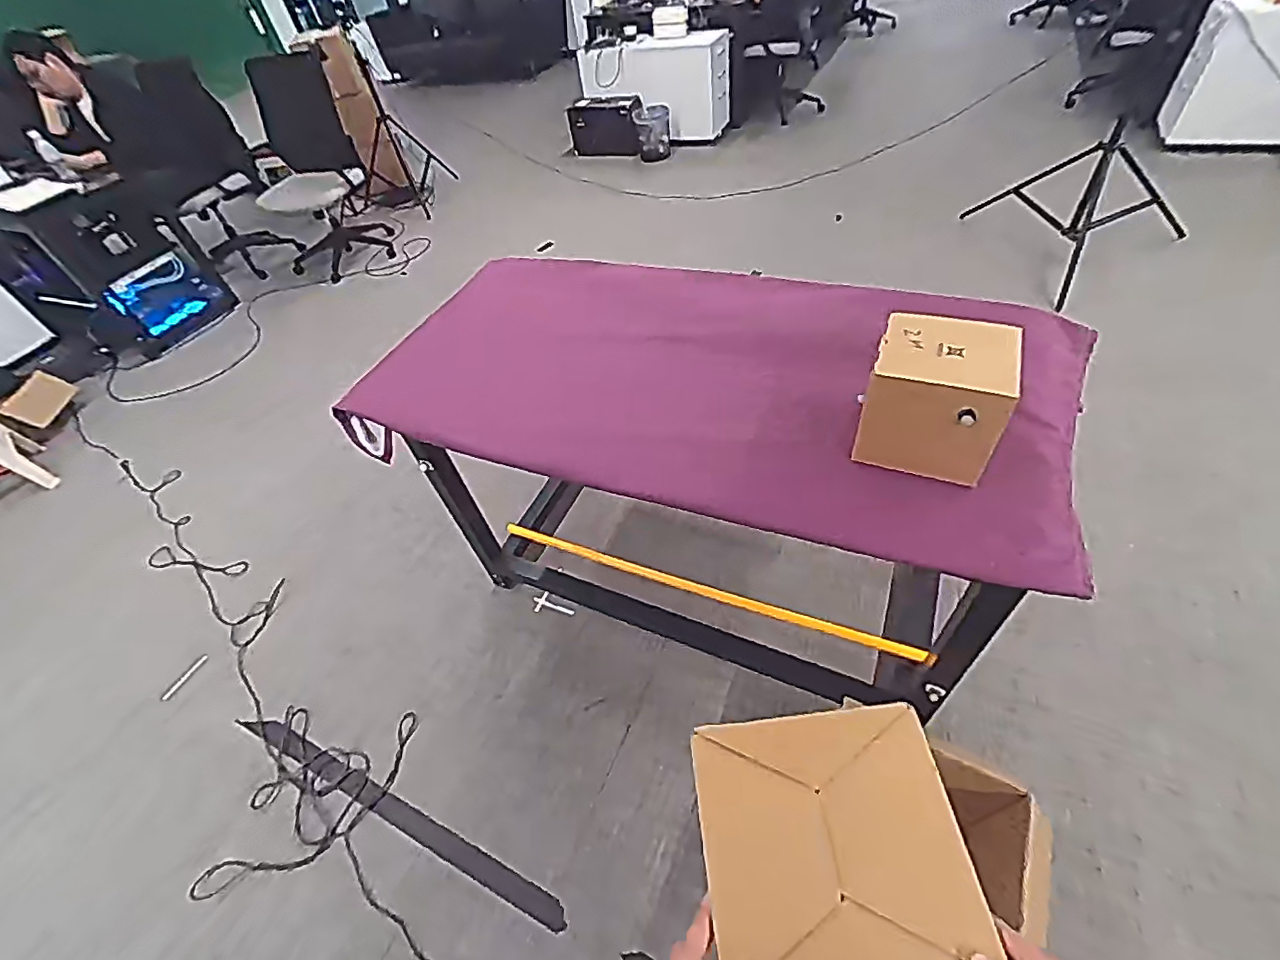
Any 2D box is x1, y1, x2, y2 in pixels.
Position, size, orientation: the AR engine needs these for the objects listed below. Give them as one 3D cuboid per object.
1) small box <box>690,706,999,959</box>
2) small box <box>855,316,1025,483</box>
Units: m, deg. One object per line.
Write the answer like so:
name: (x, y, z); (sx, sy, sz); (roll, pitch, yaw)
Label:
small box: (0.138, 0.296, 0.436); (0.179, 0.176, 0.168); (-8, 51, 4)
small box: (0.439, -0.118, 0.806); (0.179, 0.176, 0.168); (16, 50, 22)
